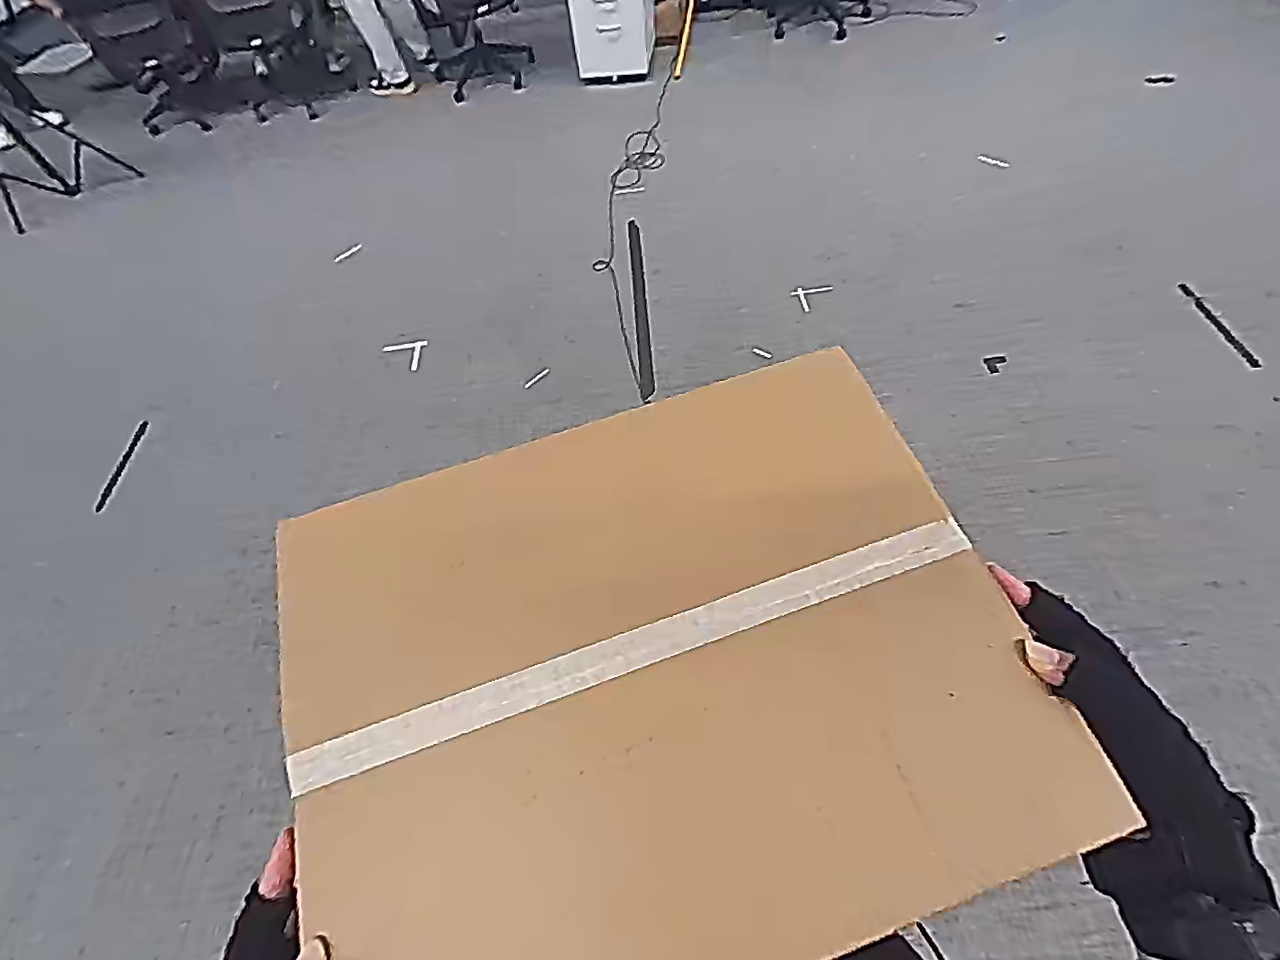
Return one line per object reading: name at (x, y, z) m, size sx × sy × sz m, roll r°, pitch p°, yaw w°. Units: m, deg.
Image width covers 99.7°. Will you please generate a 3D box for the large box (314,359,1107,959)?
large box at (0.018, 0.164, 0.458) m, size 0.408 × 0.320 × 0.320 m, roll -18°, pitch 65°, yaw -5°
